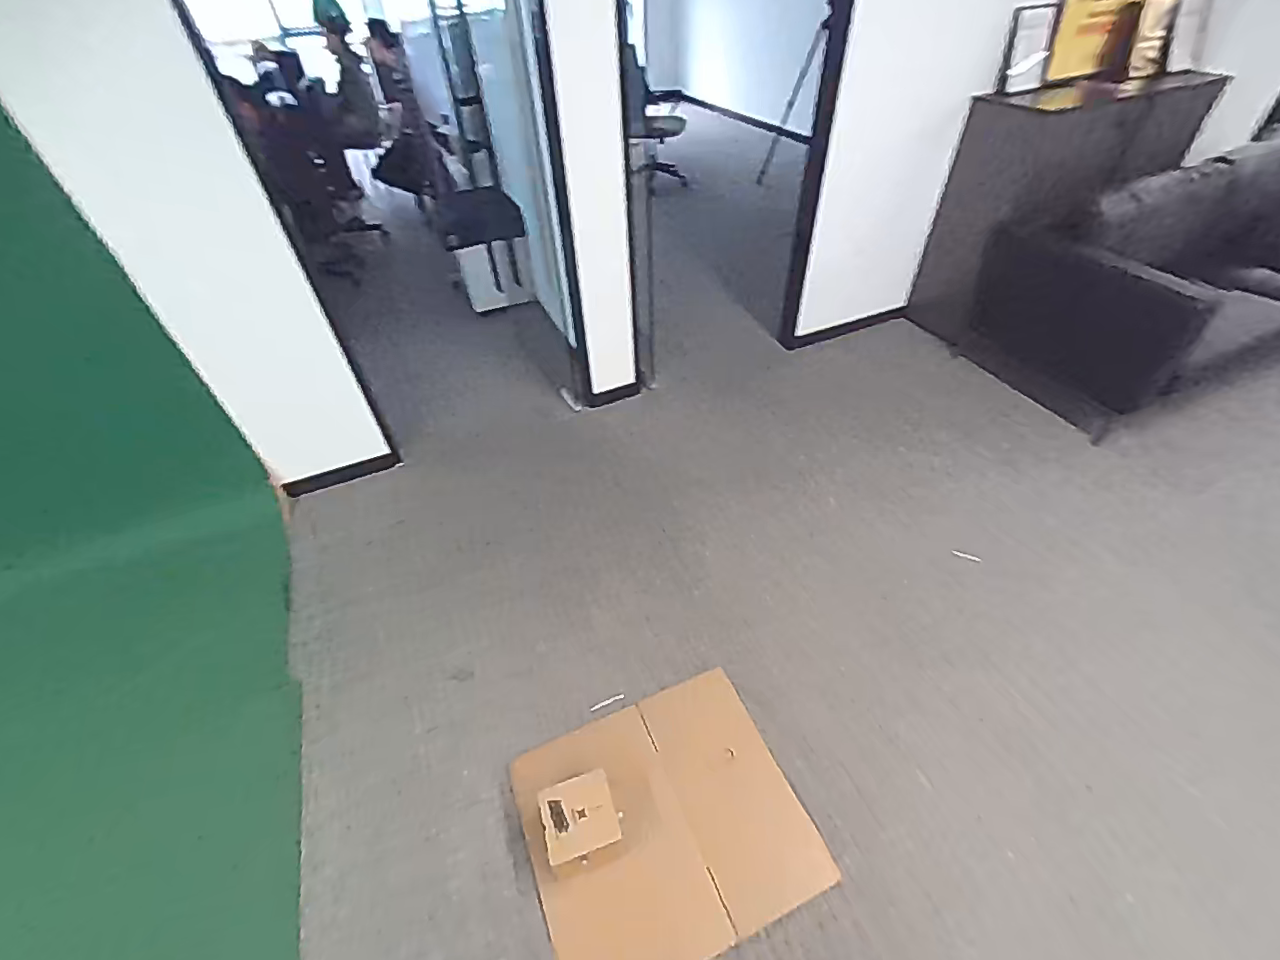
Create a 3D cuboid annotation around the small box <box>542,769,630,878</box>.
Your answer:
[{"bbox_3d":[-0.133,0.863,1.354,0.179,0.176,0.168,-15,46,-12],"label":"small box"}]
